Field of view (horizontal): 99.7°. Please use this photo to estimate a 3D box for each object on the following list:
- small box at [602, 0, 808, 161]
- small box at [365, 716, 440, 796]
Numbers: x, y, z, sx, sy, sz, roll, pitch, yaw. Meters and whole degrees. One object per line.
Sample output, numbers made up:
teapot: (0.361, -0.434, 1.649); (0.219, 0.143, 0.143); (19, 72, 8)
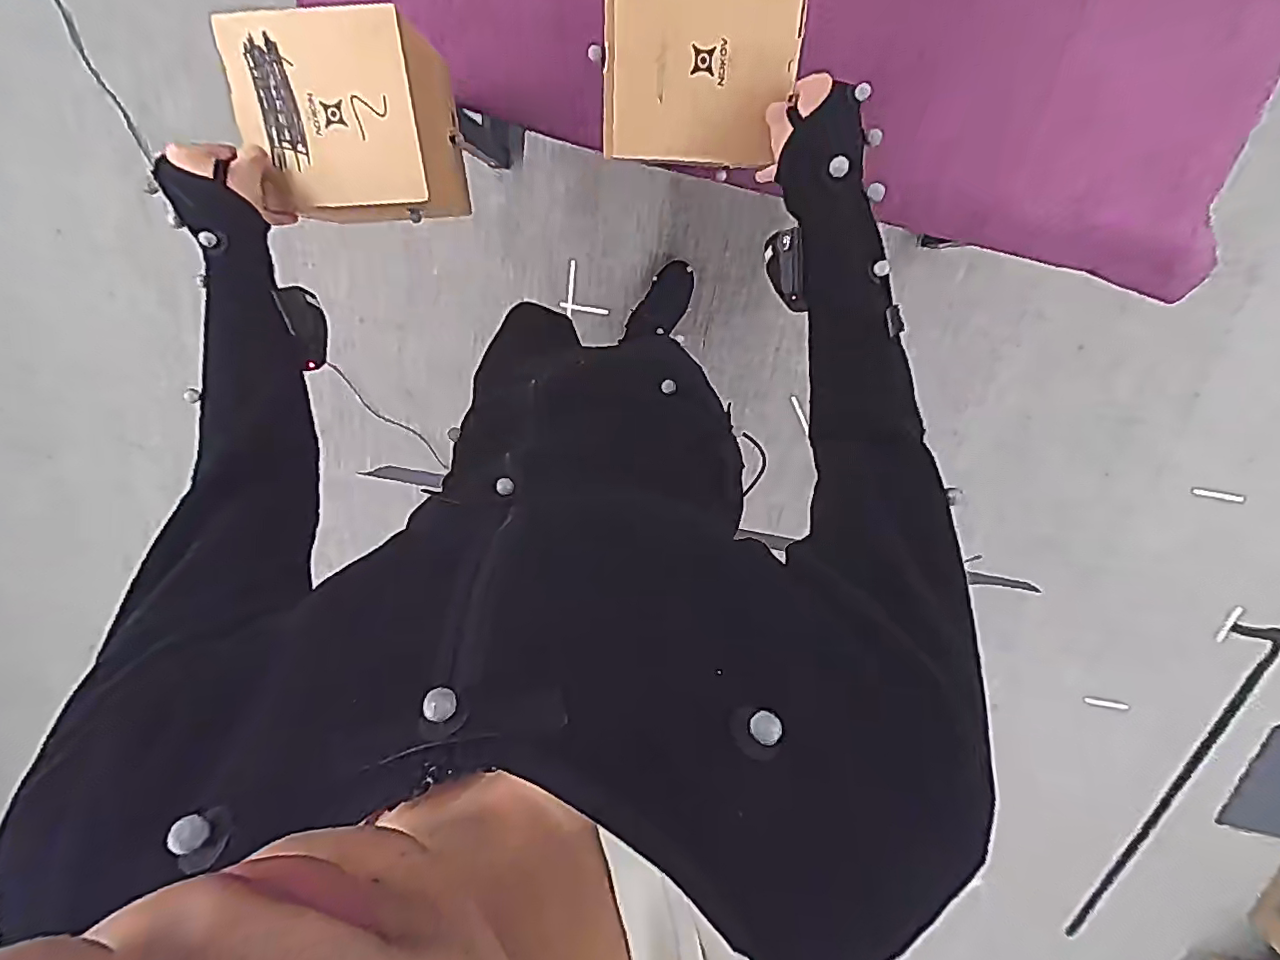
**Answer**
small box: (0.055, -0.434, 0.564); (0.179, 0.176, 0.168); (-1, 119, -7)
small box: (-0.875, 1.021, 2.014); (0.168, 0.176, 0.179); (39, 108, -11)
